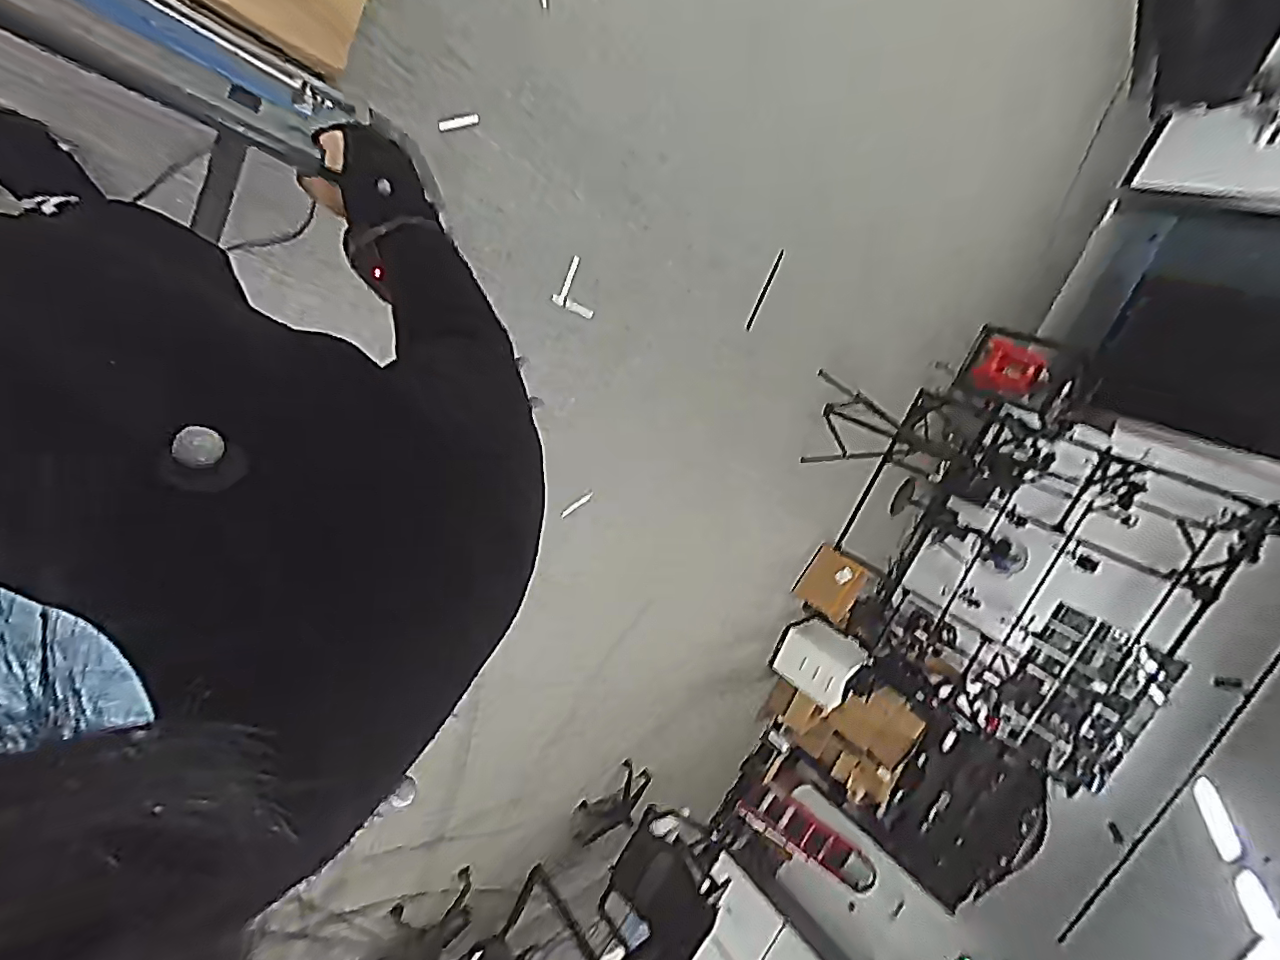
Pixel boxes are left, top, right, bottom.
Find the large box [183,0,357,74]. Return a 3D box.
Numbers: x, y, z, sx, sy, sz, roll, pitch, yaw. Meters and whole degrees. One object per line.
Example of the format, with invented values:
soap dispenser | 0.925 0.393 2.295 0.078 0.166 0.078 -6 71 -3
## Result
large box | -0.598 -0.811 0.680 0.408 0.320 0.320 7 118 -50
